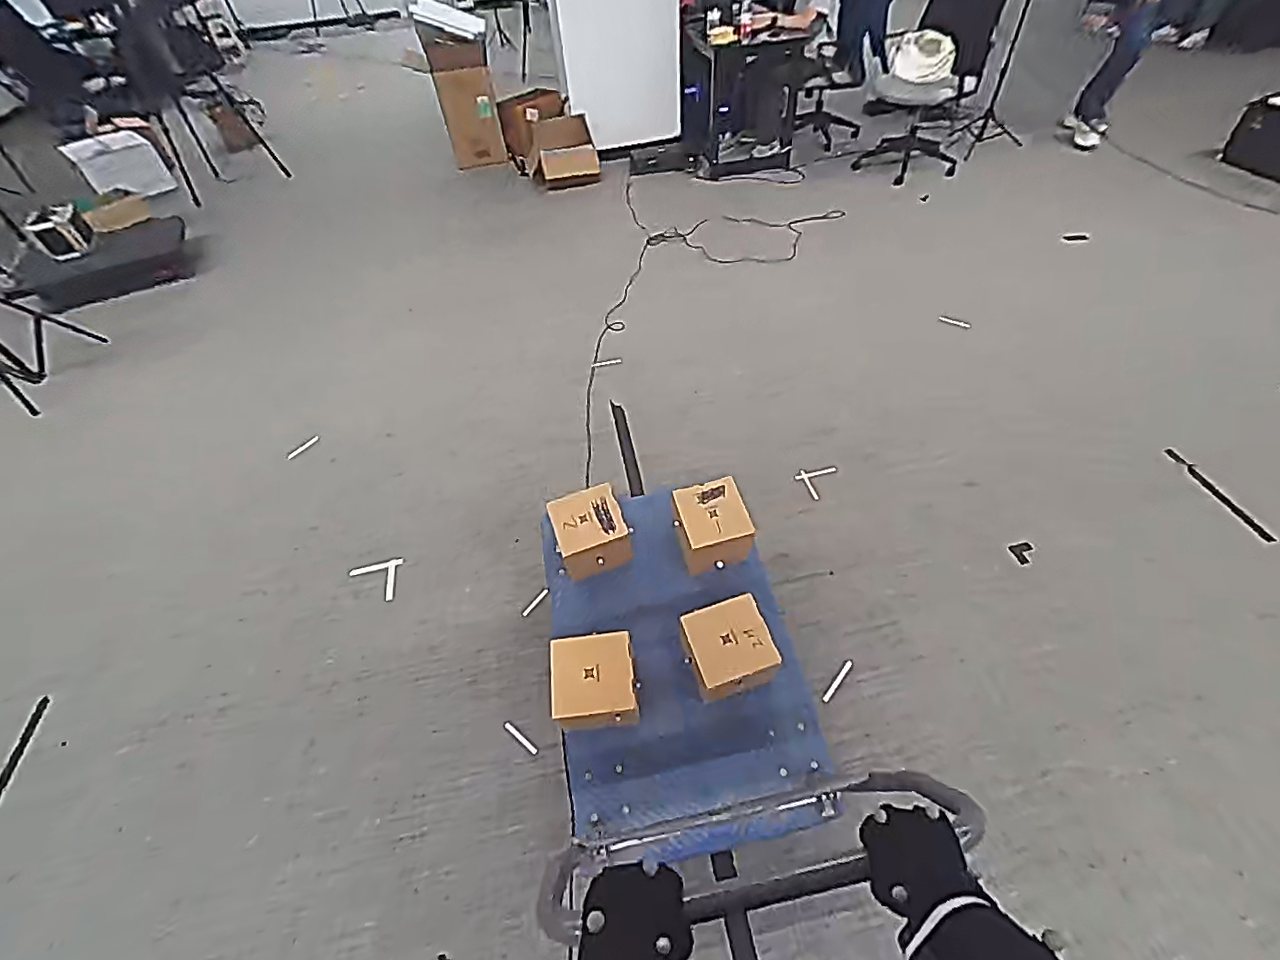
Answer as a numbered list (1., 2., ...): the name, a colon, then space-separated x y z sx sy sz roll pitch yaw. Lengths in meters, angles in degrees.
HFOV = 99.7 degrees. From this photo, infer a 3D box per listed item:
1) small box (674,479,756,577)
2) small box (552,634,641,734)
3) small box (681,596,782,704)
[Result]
1. small box: 0.189 0.128 1.421 0.168 0.176 0.179 -15 57 -5
2. small box: -0.096 0.463 1.220 0.179 0.176 0.168 -7 56 -2
3. small box: 0.204 0.395 1.242 0.179 0.176 0.168 -17 57 -7
